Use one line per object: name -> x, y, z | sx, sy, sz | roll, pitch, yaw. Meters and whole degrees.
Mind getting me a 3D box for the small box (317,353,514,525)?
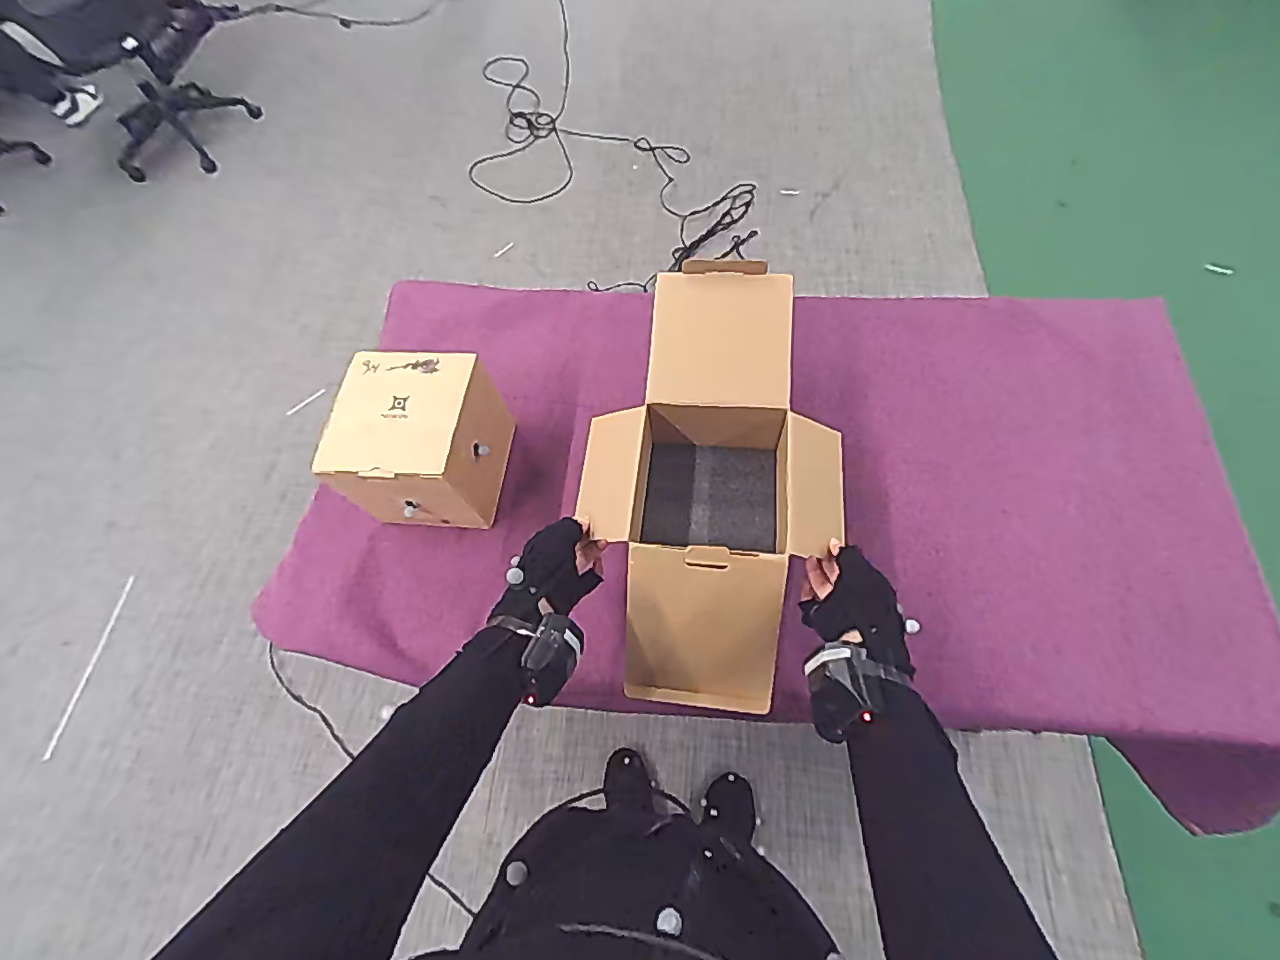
small box -> -0.281, -0.048, 0.725 | 0.168, 0.176, 0.179 | 3, 65, 7
